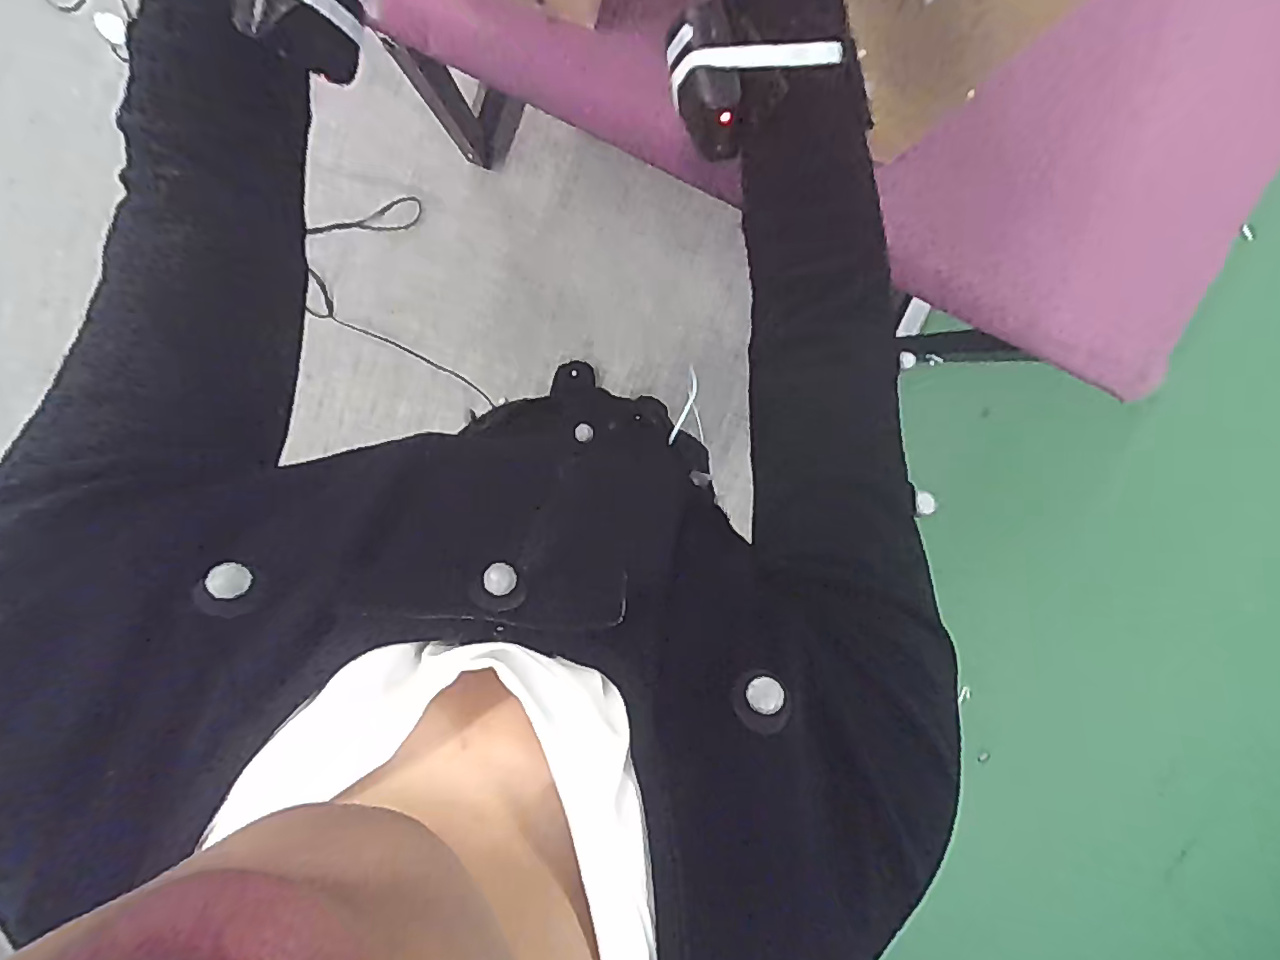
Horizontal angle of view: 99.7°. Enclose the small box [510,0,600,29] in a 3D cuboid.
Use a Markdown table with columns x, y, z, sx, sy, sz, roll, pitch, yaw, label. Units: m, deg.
| x | y | z | sx | sy | sz | roll | pitch | yaw | label |
| --- | --- | --- | --- | --- | --- | --- | --- | --- | --- |
| -0.101 | -0.611 | 0.530 | 0.168 | 0.176 | 0.179 | 17 | 100 | -7 | small box |
